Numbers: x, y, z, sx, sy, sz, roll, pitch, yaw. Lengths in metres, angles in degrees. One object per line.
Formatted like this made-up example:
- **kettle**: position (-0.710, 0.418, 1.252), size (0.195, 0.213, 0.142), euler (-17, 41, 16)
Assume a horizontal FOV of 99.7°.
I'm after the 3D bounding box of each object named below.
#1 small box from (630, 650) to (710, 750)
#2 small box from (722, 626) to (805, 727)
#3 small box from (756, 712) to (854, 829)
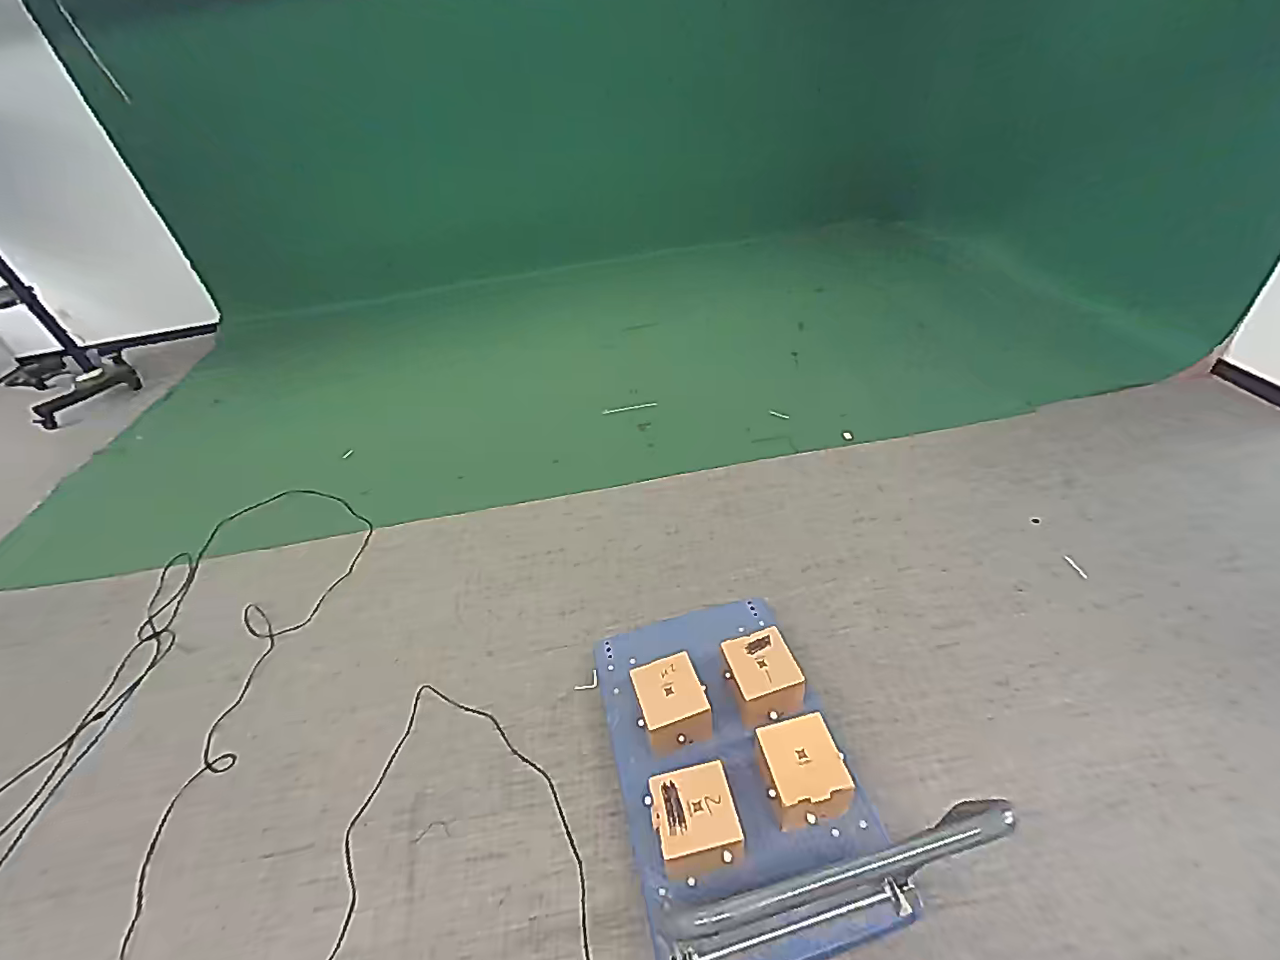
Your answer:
- **small box**: position (0.083, 0.595, 1.446), size (0.168, 0.176, 0.179), euler (-16, 41, -9)
- **small box**: position (0.330, 0.534, 1.473), size (0.168, 0.176, 0.179), euler (-15, 42, -7)
- **small box**: position (0.381, 0.692, 1.287), size (0.168, 0.176, 0.179), euler (-13, 40, -5)
